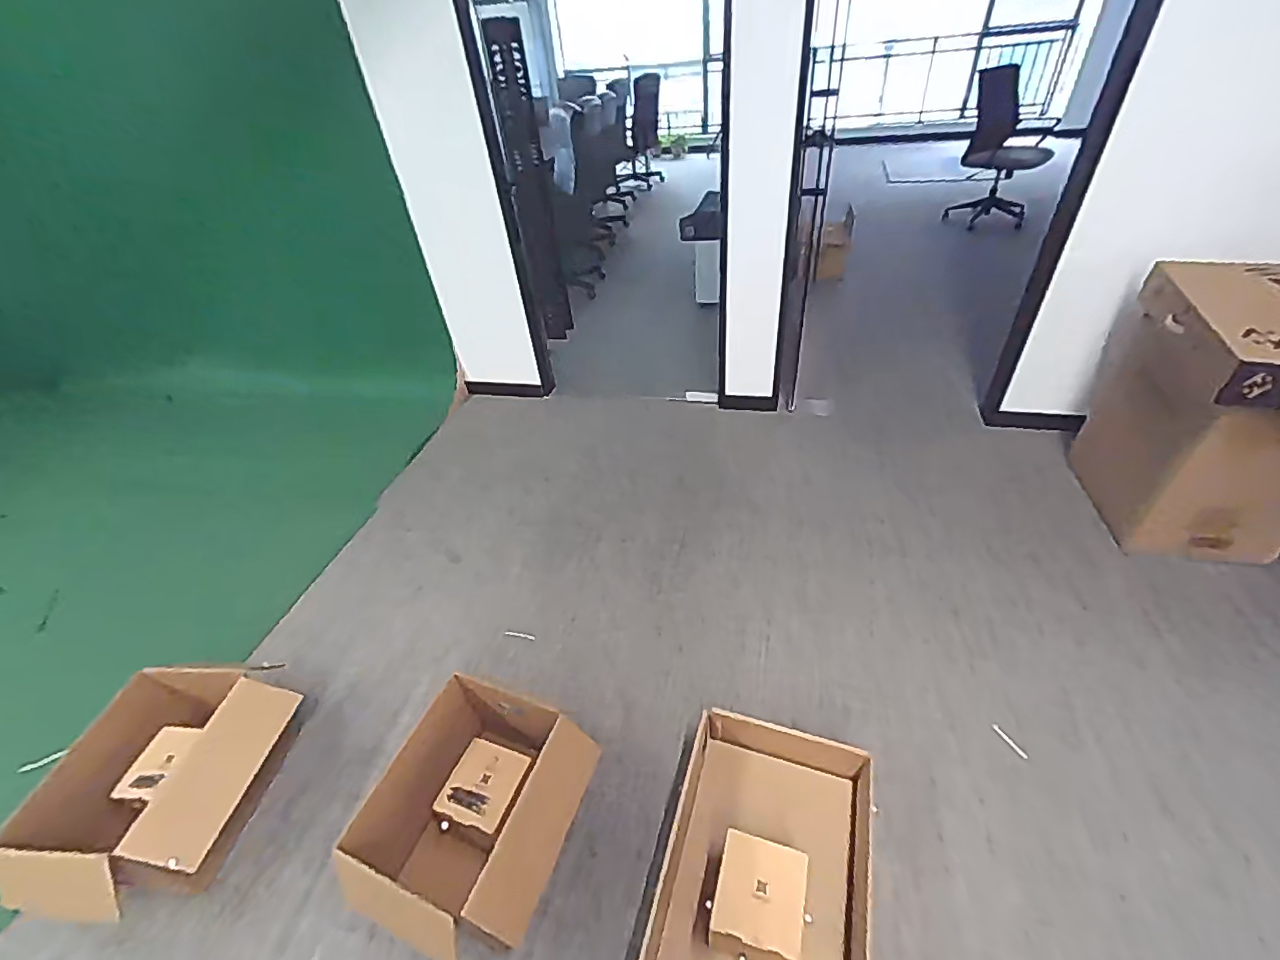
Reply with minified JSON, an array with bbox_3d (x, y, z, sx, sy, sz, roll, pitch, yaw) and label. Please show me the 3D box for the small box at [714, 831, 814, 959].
[{"bbox_3d":[0.245,0.854,1.085,0.168,0.176,0.179,9,42,17],"label":"small box"}]
